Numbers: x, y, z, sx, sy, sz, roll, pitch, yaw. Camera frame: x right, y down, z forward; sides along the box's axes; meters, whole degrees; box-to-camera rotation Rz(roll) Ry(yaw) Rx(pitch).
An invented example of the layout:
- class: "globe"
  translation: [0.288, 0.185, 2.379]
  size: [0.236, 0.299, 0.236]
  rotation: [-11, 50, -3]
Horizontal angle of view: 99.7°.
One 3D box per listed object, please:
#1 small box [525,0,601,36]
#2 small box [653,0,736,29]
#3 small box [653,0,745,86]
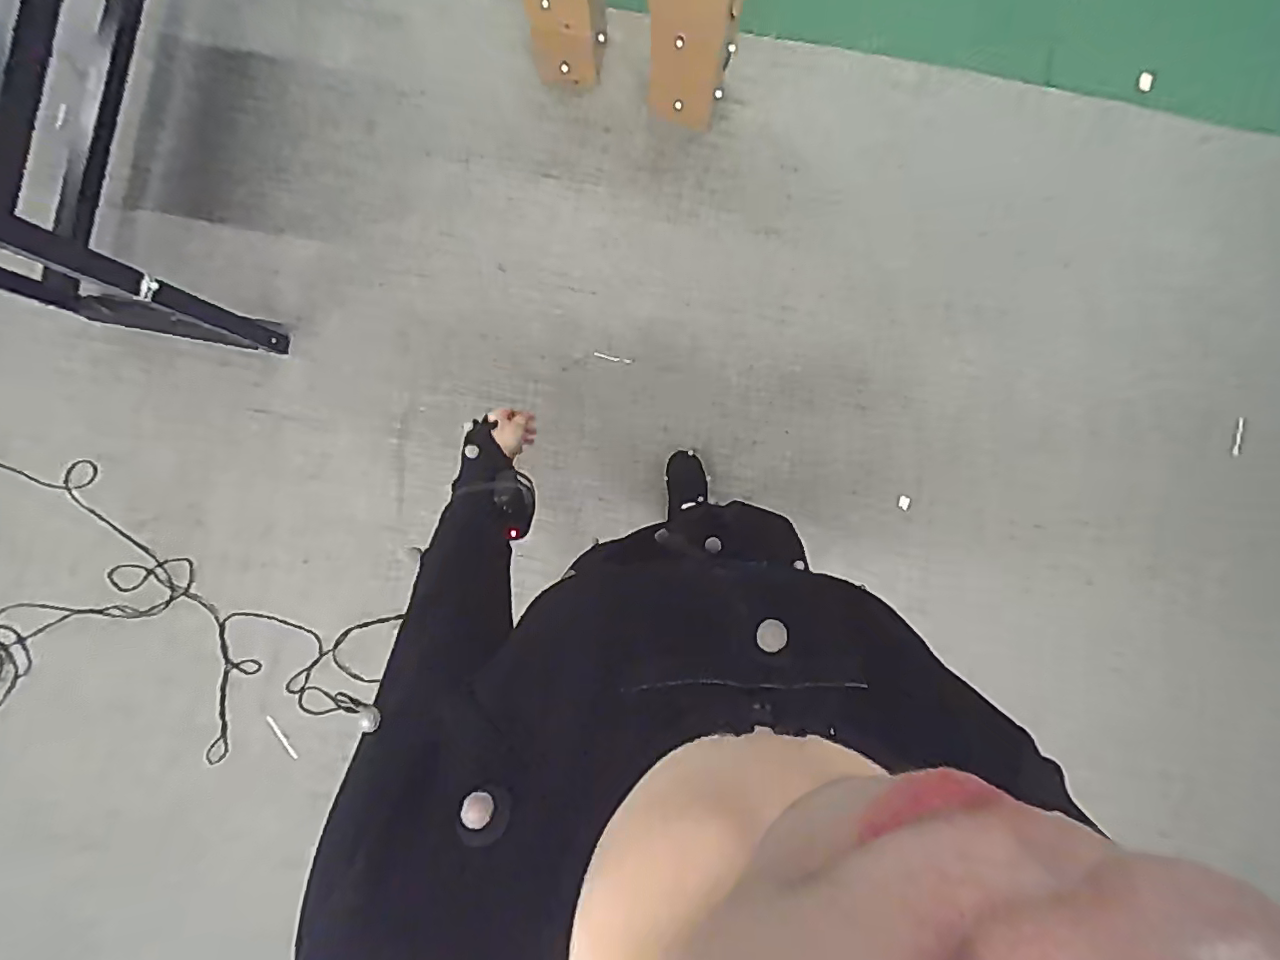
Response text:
- class: "small box"
  translation: [-0.184, -1.218, 1.293]
  size: [0.168, 0.176, 0.179]
  rotation: [10, 87, 1]
- class: "small box"
  translation: [0.129, -1.092, 1.117]
  size: [0.179, 0.176, 0.168]
  rotation: [20, 89, 1]
- class: "small box"
  translation: [0.138, -1.087, 1.281]
  size: [0.179, 0.176, 0.168]
  rotation: [22, 90, 1]
